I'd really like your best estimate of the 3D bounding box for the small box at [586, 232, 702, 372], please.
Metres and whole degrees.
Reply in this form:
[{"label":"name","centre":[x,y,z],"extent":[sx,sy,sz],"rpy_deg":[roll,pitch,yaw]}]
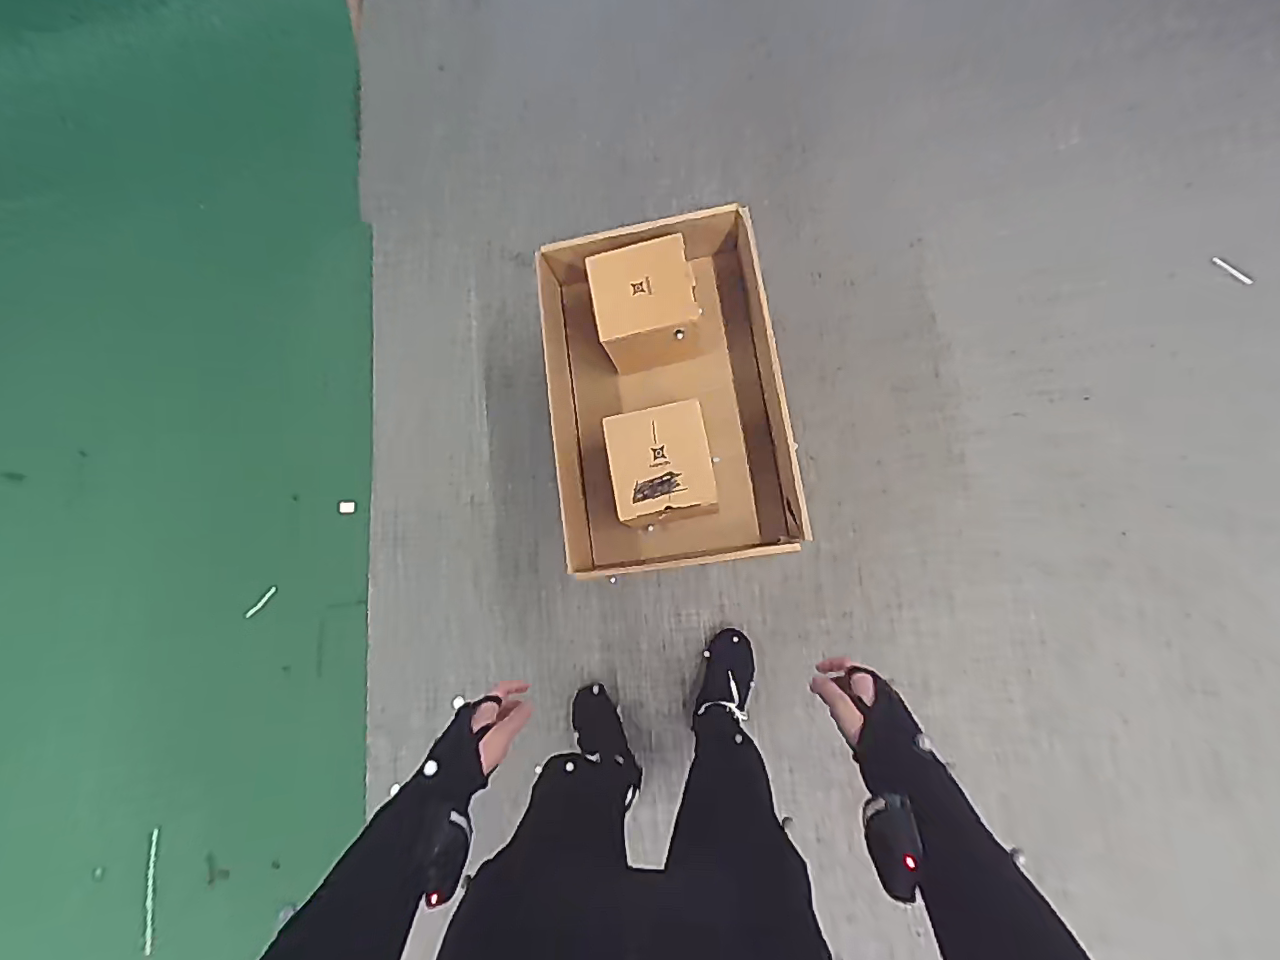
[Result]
[{"label":"small box","centre":[0.014,-0.317,0.999],"extent":[0.179,0.176,0.168],"rpy_deg":[-12,79,6]}]
